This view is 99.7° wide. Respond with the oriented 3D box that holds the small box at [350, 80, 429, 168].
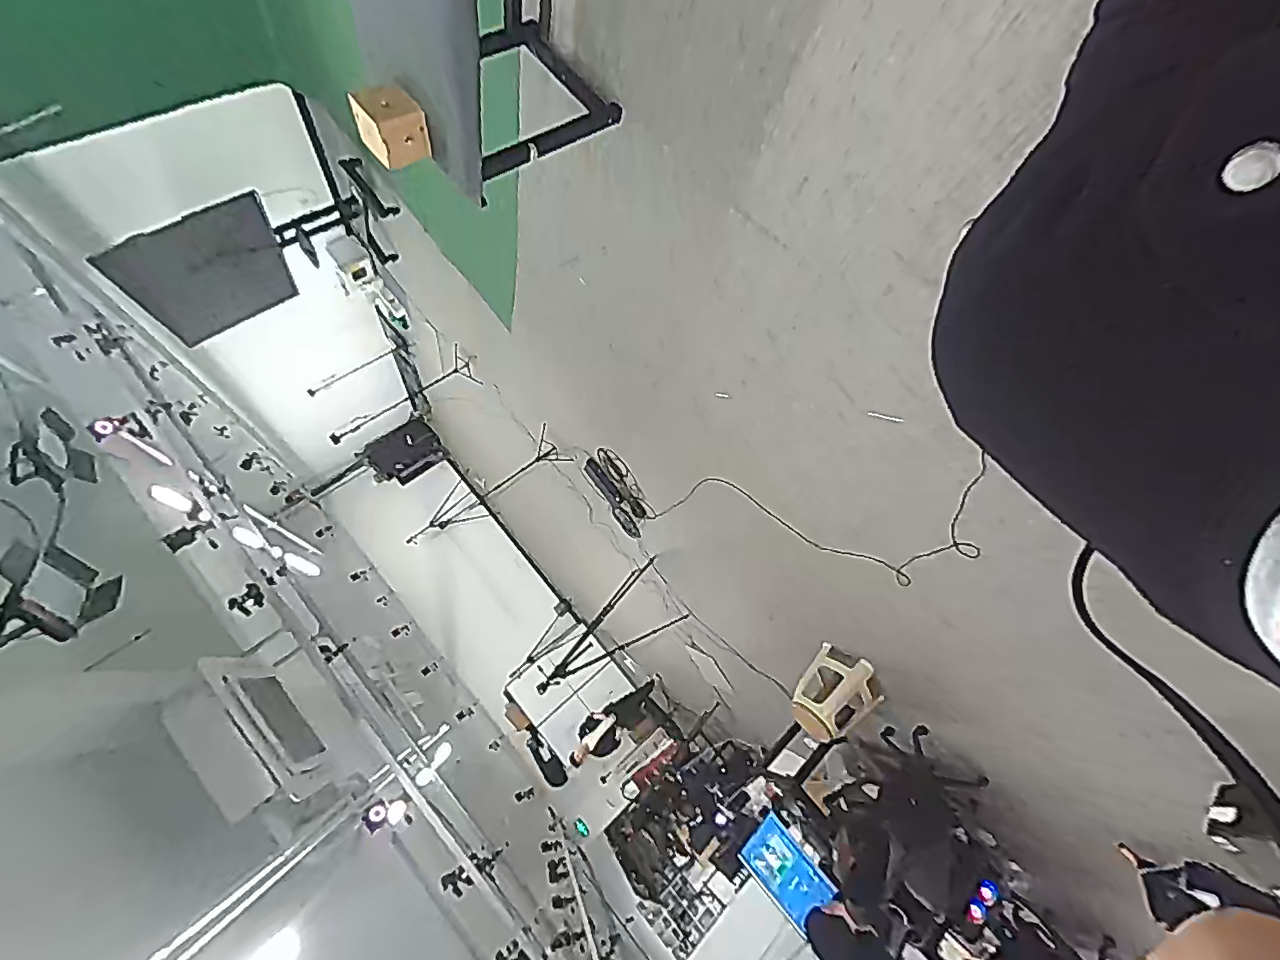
[{"bbox_3d":[-0.838,-1.211,1.835,0.179,0.176,0.168,47,157,11],"label":"small box"}]
